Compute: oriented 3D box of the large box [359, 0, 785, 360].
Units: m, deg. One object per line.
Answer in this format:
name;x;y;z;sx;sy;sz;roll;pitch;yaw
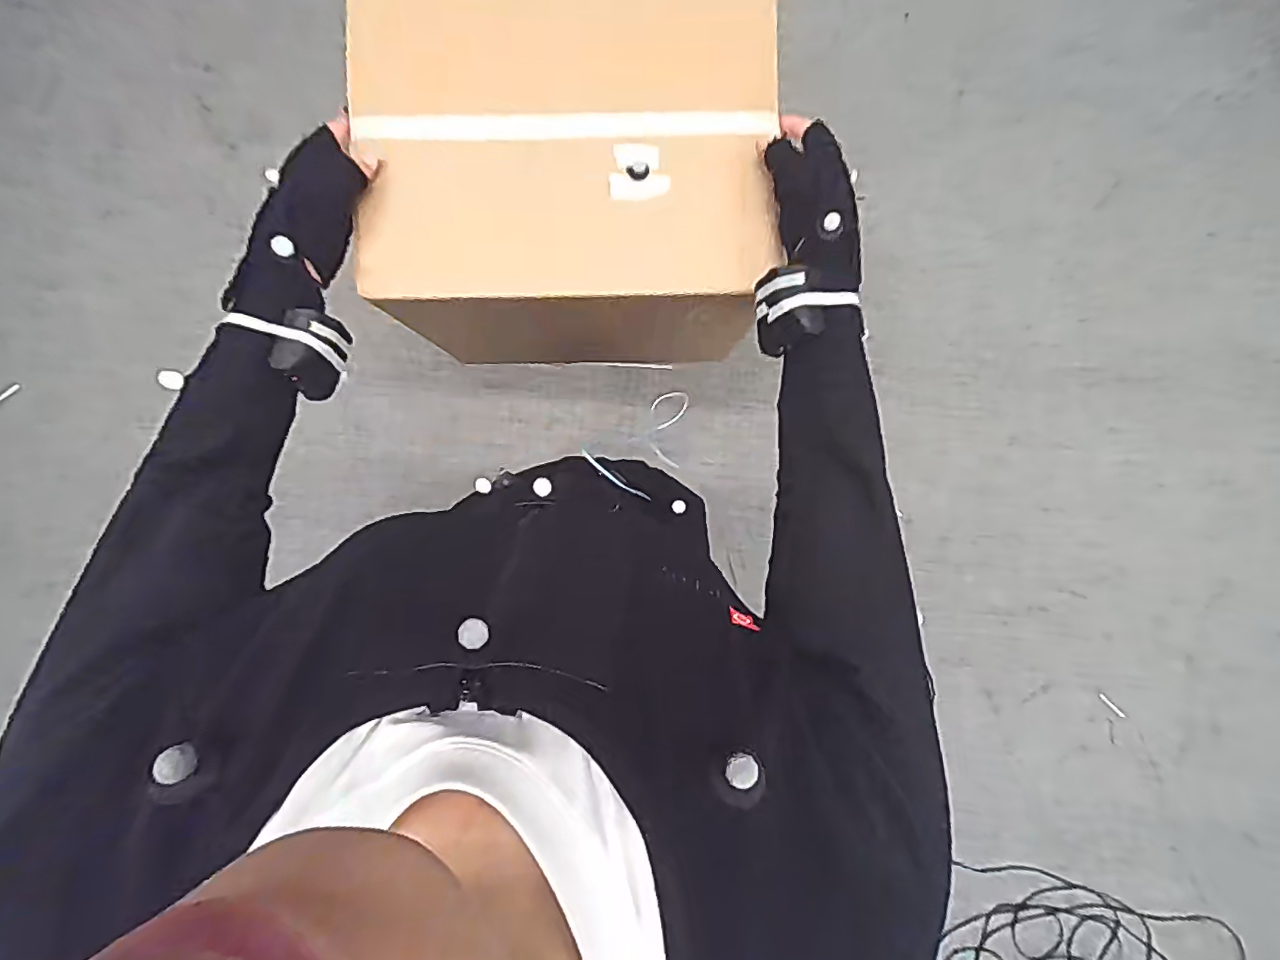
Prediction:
large box;-0.069;-0.339;0.661;0.408;0.320;0.320;-1;90;-2
